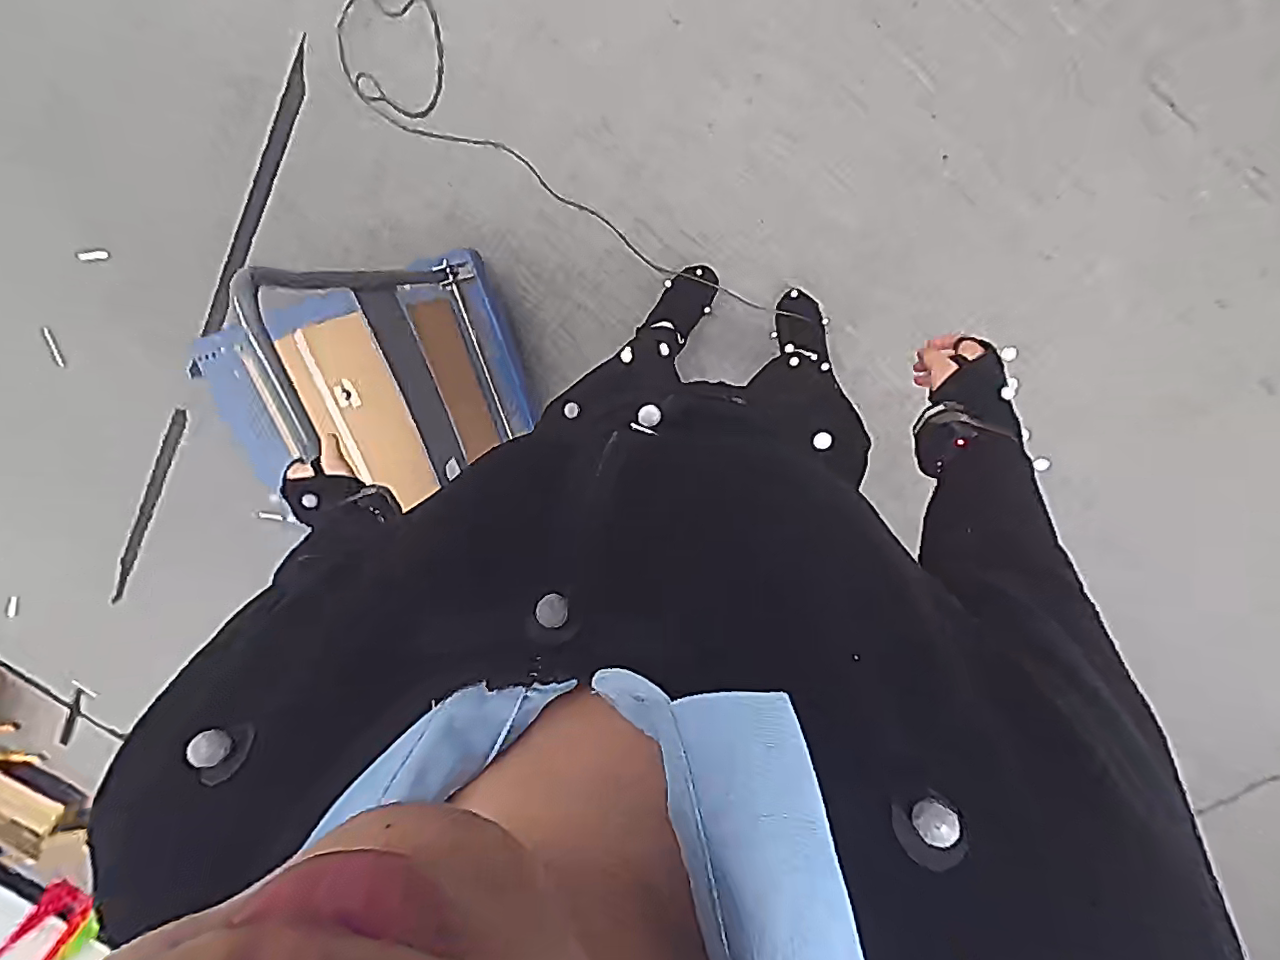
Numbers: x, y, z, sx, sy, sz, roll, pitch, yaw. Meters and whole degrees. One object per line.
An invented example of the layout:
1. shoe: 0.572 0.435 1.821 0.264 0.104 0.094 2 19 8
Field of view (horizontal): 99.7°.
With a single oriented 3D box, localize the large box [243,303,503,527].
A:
1. large box: -0.571 -0.156 1.236 0.320 0.320 0.408 -11 109 14
